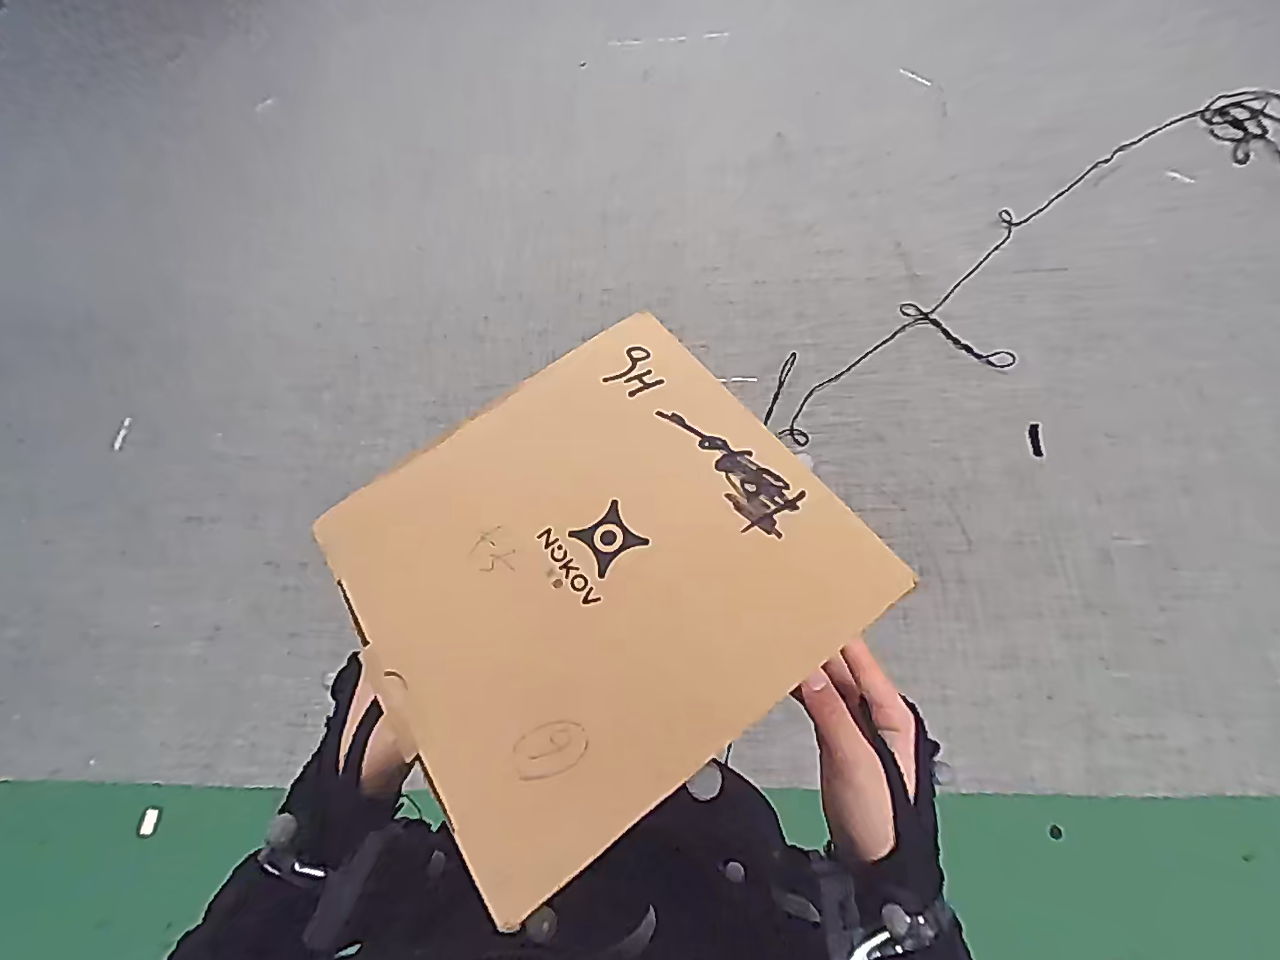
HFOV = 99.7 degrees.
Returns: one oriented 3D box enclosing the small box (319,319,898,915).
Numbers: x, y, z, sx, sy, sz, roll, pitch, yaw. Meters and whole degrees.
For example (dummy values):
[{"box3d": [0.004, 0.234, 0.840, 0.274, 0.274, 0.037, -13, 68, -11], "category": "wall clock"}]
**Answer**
[{"box3d": [-0.012, 0.063, 0.280, 0.179, 0.176, 0.168, -35, 66, -9], "category": "small box"}]
